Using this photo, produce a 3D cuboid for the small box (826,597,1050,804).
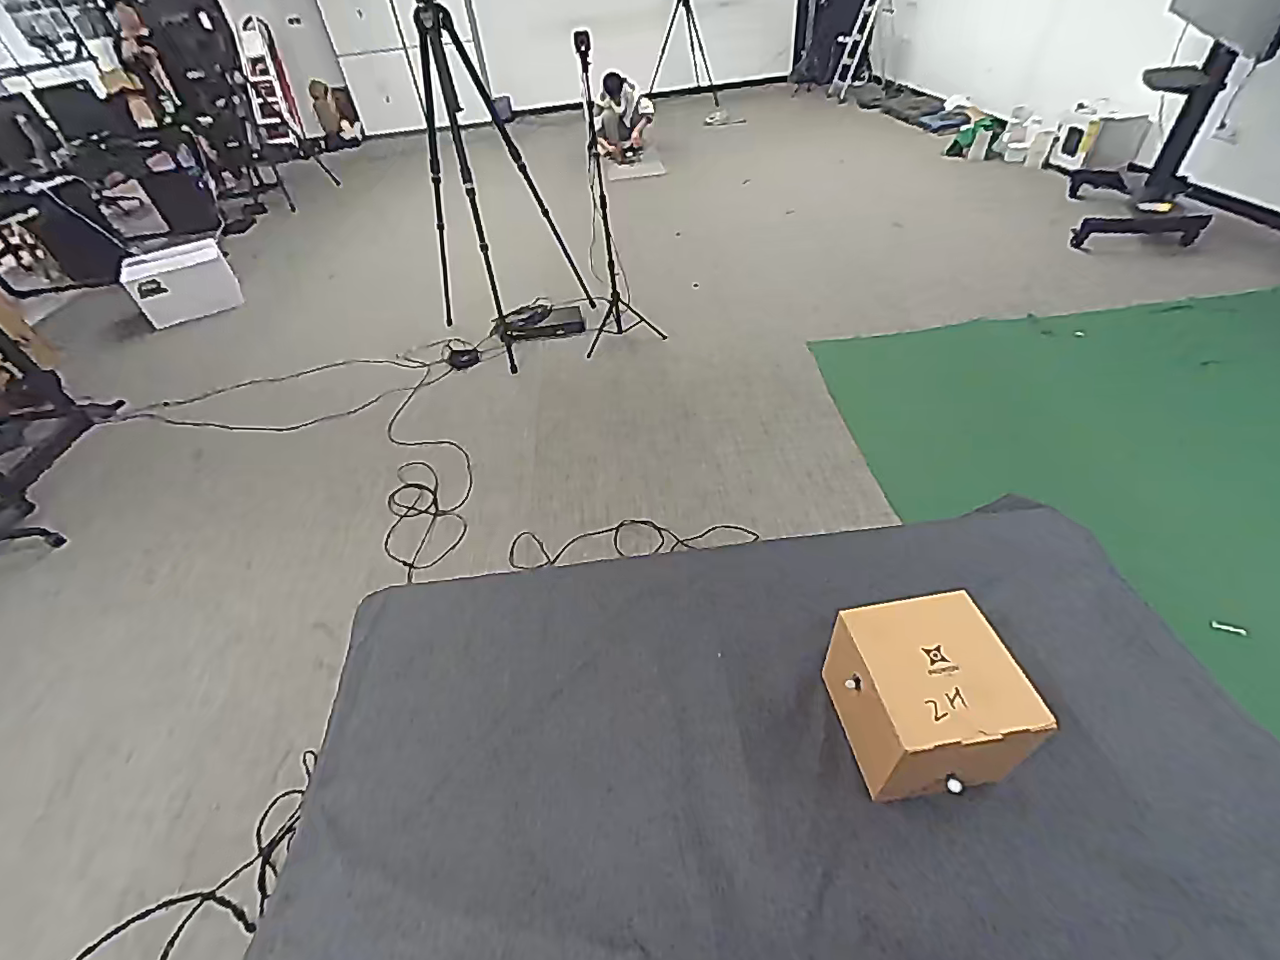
[{"bbox_3d":[0.349,0.276,0.681,0.168,0.176,0.179,-9,43,-1],"label":"small box"}]
